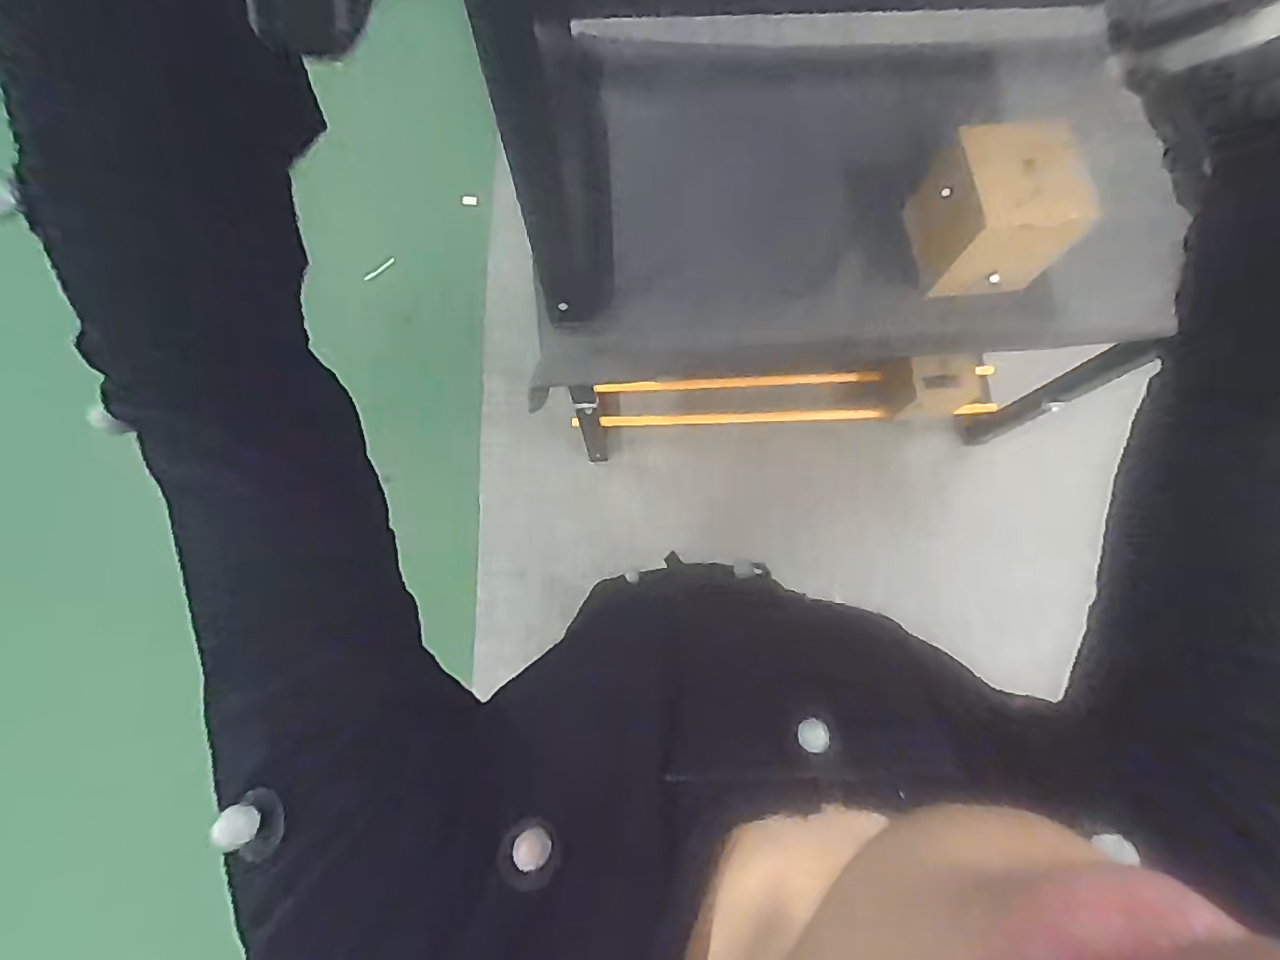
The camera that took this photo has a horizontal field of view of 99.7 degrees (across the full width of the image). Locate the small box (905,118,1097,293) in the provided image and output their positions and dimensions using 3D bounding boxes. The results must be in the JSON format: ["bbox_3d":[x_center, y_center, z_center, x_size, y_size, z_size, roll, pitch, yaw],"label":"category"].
[{"bbox_3d":[0.542,-0.420,0.844,0.168,0.176,0.179,-5,75,-2],"label":"small box"}]
